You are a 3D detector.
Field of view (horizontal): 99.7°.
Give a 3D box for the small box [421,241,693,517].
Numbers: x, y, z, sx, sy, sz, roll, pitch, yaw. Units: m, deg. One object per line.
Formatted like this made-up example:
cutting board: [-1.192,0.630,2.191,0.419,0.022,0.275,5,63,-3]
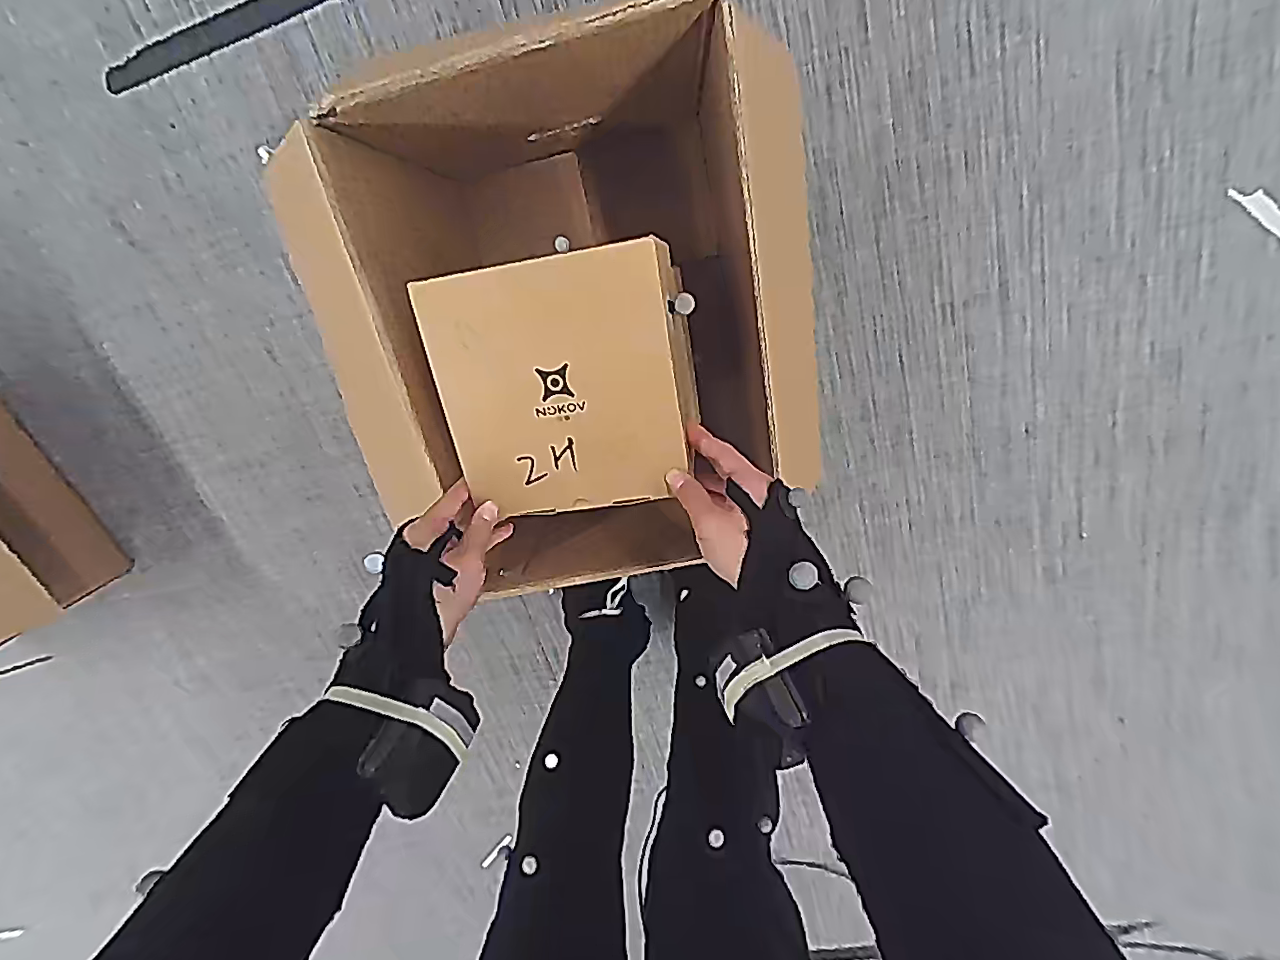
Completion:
small box: [-0.048,-0.089,0.452,0.168,0.176,0.179,-7,111,8]
